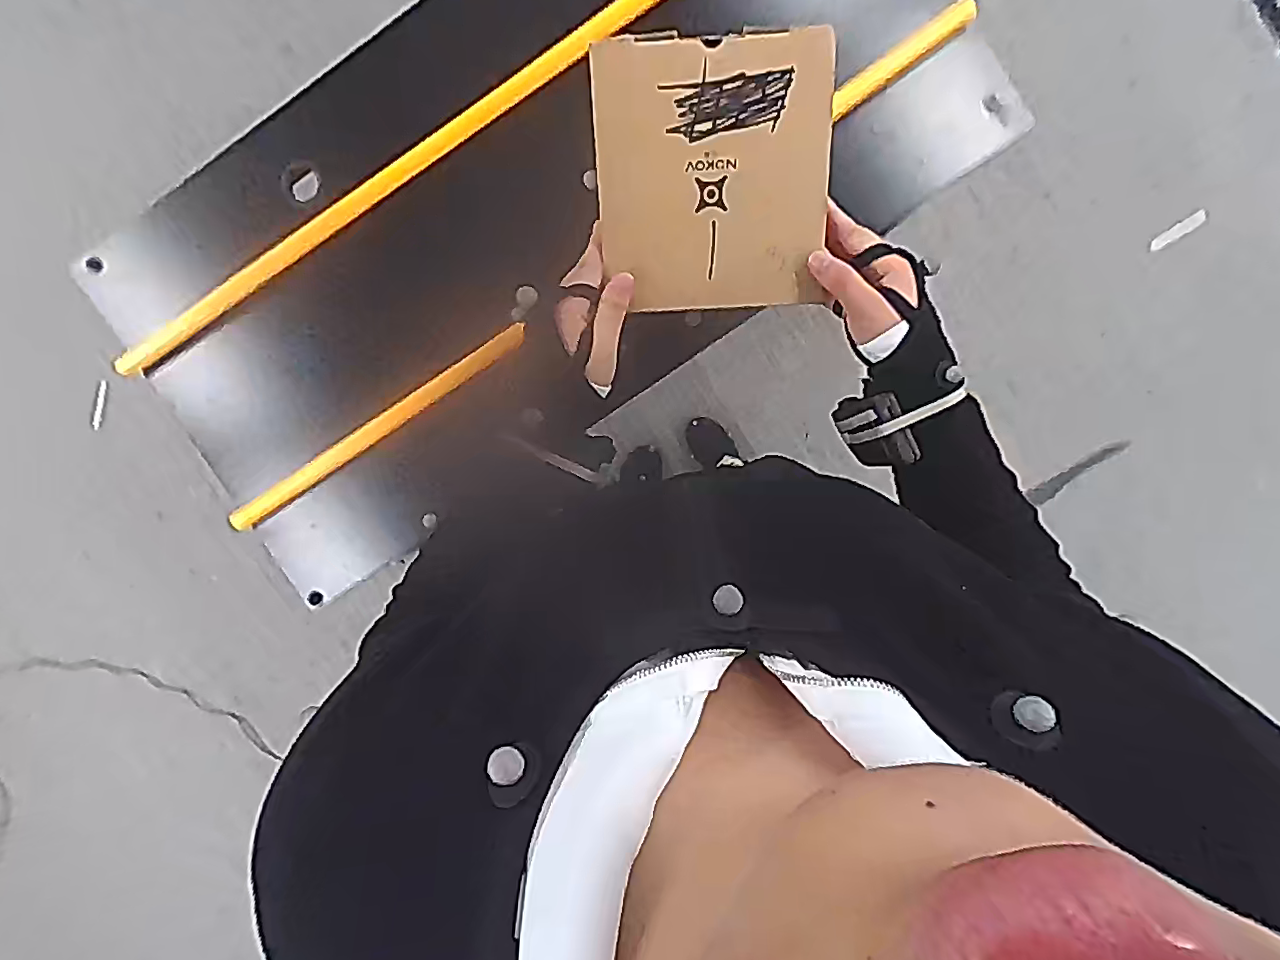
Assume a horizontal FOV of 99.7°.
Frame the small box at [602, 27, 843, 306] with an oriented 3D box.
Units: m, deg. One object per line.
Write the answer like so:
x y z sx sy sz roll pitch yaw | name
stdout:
0.057 -0.242 0.461 0.168 0.176 0.179 -1 109 2 | small box
